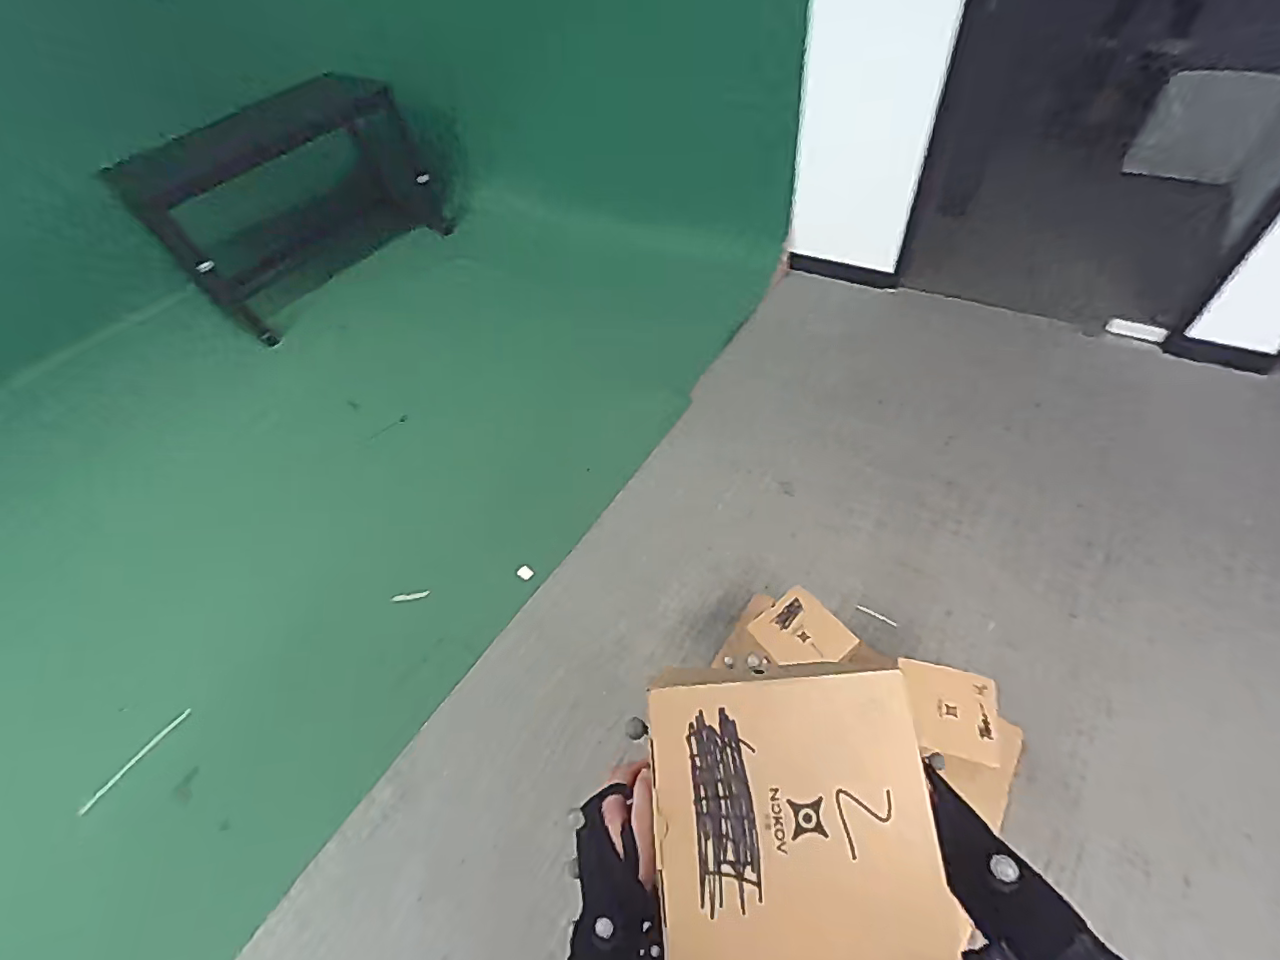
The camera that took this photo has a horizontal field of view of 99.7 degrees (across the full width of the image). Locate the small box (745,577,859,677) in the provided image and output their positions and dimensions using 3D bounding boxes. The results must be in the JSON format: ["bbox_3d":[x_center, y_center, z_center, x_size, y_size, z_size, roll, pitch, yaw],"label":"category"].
[{"bbox_3d":[0.350,0.358,1.208,0.168,0.176,0.179,-33,56,-16],"label":"small box"}]

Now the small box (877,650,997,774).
[{"bbox_3d":[0.585,0.469,1.085,0.179,0.176,0.168,10,55,17],"label":"small box"}]

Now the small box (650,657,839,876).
[{"bbox_3d":[0.095,0.282,0.570,0.168,0.176,0.179,1,73,0],"label":"small box"}]
